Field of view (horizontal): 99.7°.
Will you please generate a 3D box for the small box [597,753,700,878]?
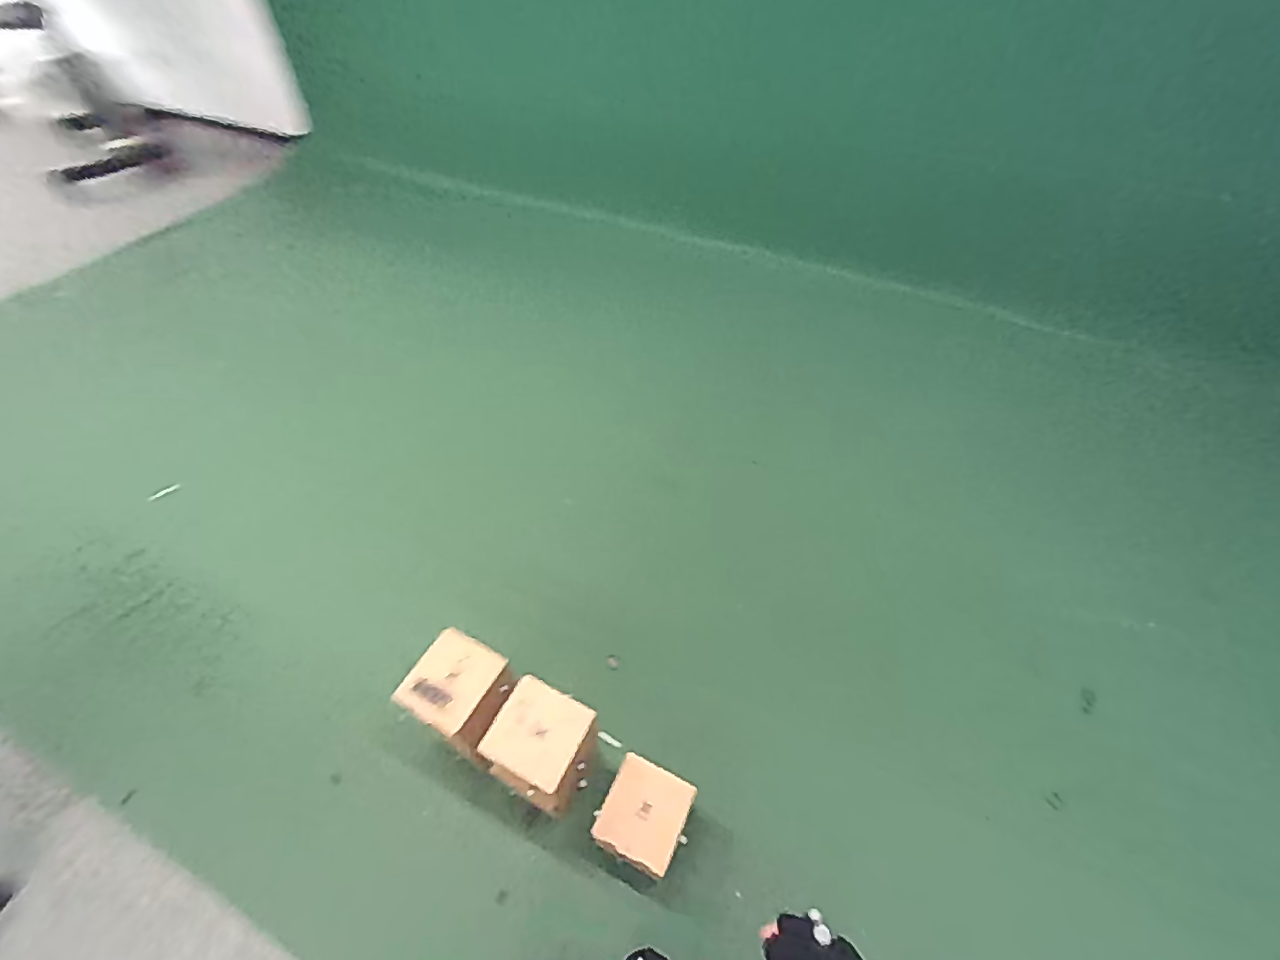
[{"bbox_3d":[0.017,0.746,1.201,0.168,0.176,0.179,21,55,16],"label":"small box"}]
